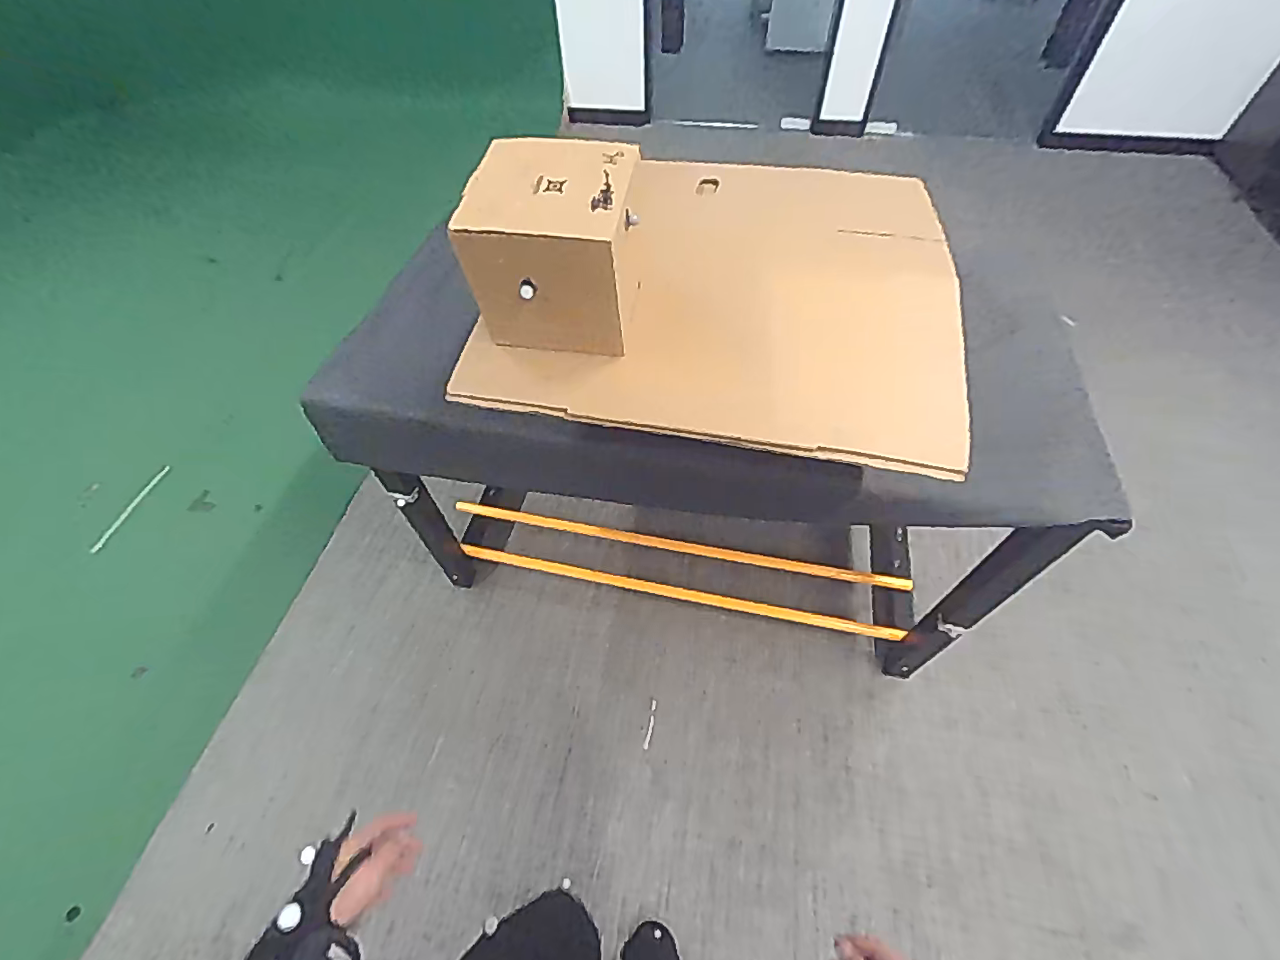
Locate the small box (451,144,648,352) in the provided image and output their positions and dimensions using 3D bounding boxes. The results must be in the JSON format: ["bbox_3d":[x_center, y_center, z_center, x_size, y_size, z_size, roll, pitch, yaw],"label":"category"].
[{"bbox_3d":[-0.092,-0.273,0.653,0.179,0.176,0.168,7,62,8],"label":"small box"}]
